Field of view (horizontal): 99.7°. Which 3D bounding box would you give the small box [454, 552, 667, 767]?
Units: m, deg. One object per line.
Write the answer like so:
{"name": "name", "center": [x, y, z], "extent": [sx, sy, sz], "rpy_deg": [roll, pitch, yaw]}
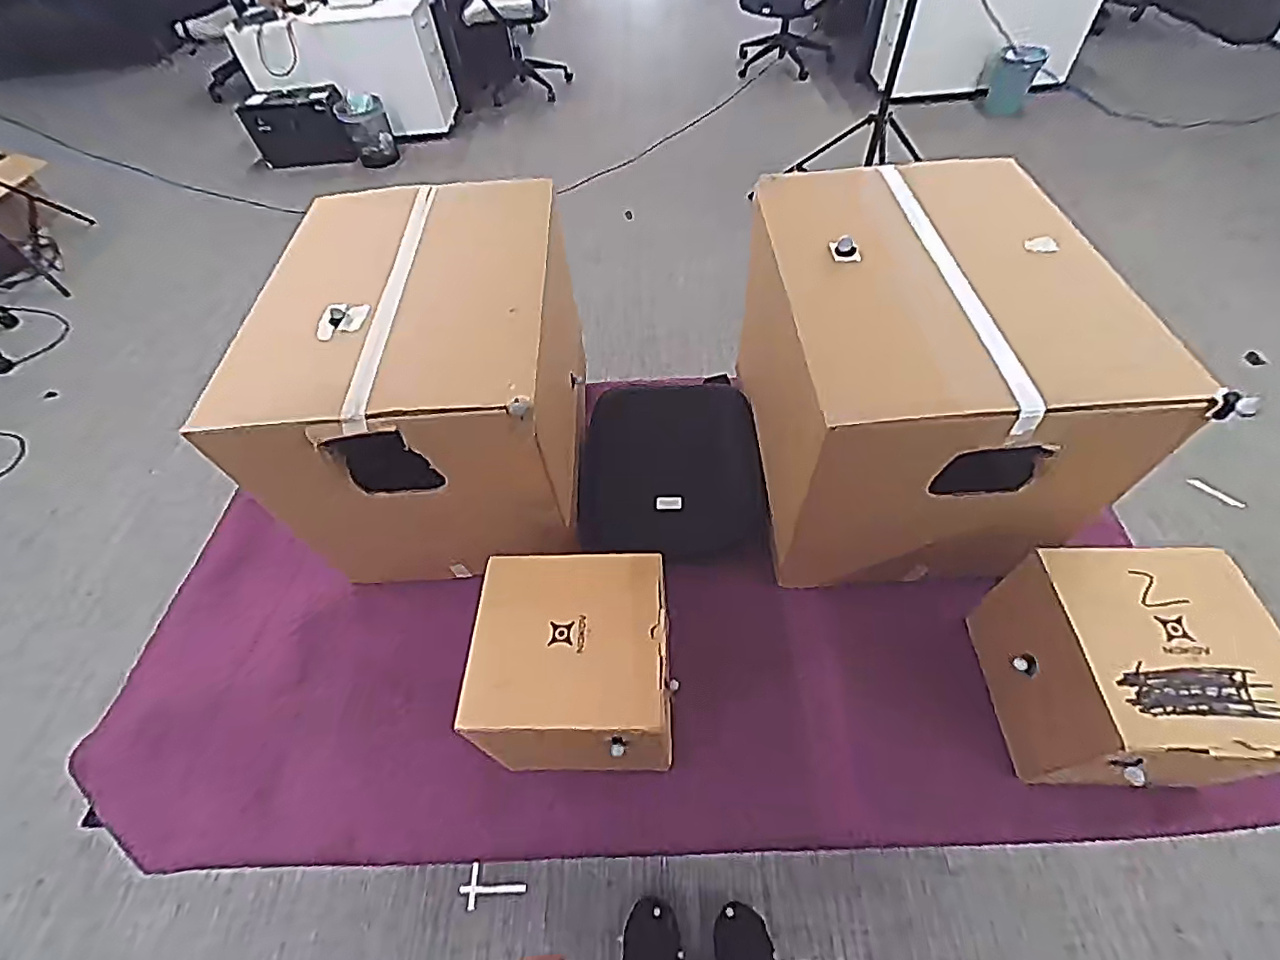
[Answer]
{"name": "small box", "center": [-0.064, 0.189, 0.556], "extent": [0.179, 0.176, 0.168], "rpy_deg": [-2, 52, 2]}

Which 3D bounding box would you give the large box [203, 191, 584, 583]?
{"name": "large box", "center": [-0.246, -0.117, 0.712], "extent": [0.320, 0.320, 0.408], "rpy_deg": [-5, 56, 1]}
